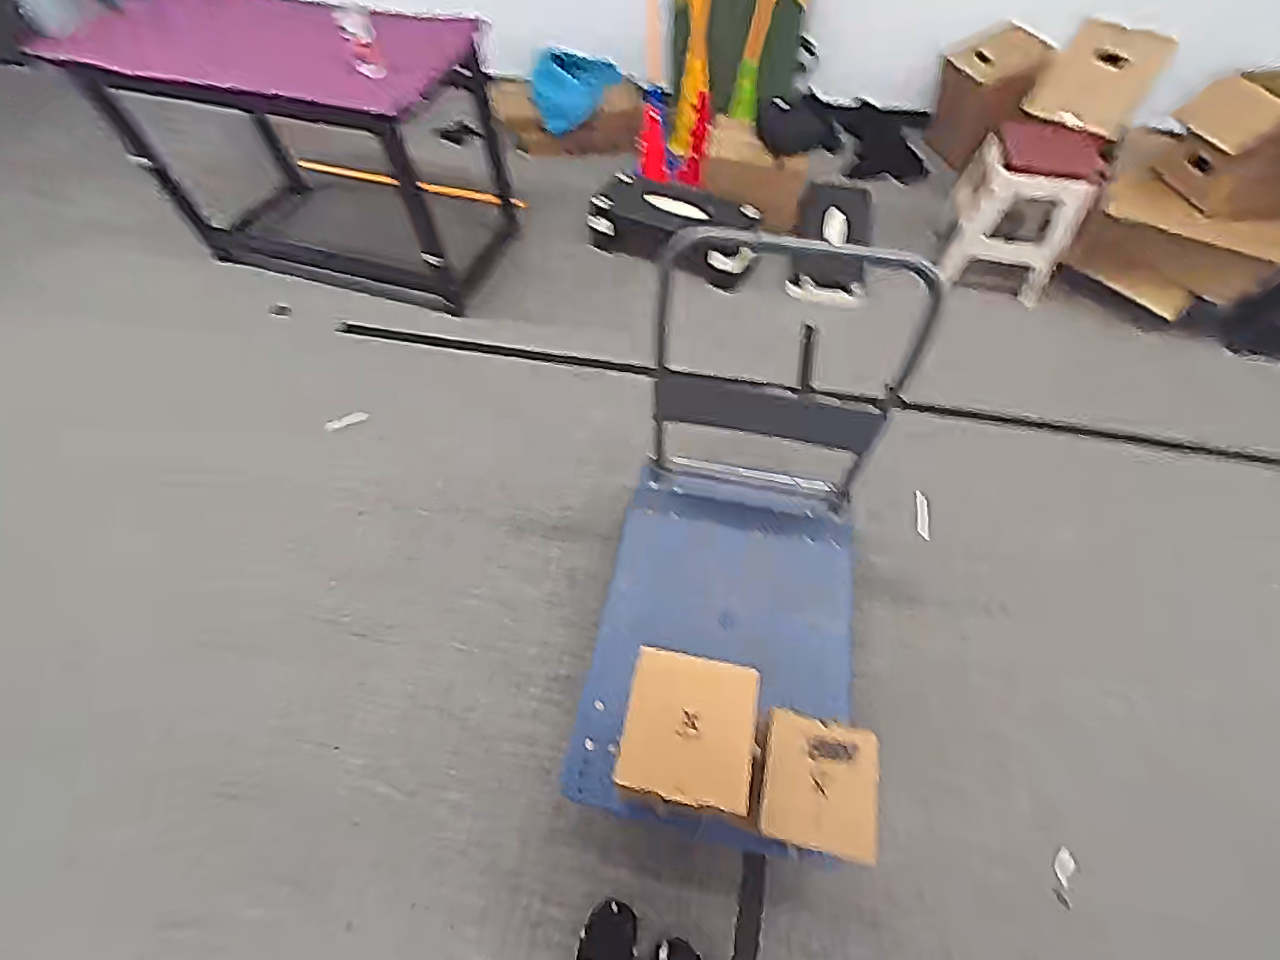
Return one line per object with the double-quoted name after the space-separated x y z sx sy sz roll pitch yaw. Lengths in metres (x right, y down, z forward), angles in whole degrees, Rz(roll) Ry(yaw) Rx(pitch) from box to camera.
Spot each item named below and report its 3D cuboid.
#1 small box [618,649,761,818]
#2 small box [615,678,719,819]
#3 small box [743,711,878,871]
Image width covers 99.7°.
0.068 0.366 0.776 0.168 0.176 0.179 11 59 7 "small box"
0.058 0.454 0.914 0.168 0.176 0.179 9 59 5 "small box"
0.272 0.503 0.882 0.168 0.176 0.179 13 60 9 "small box"
